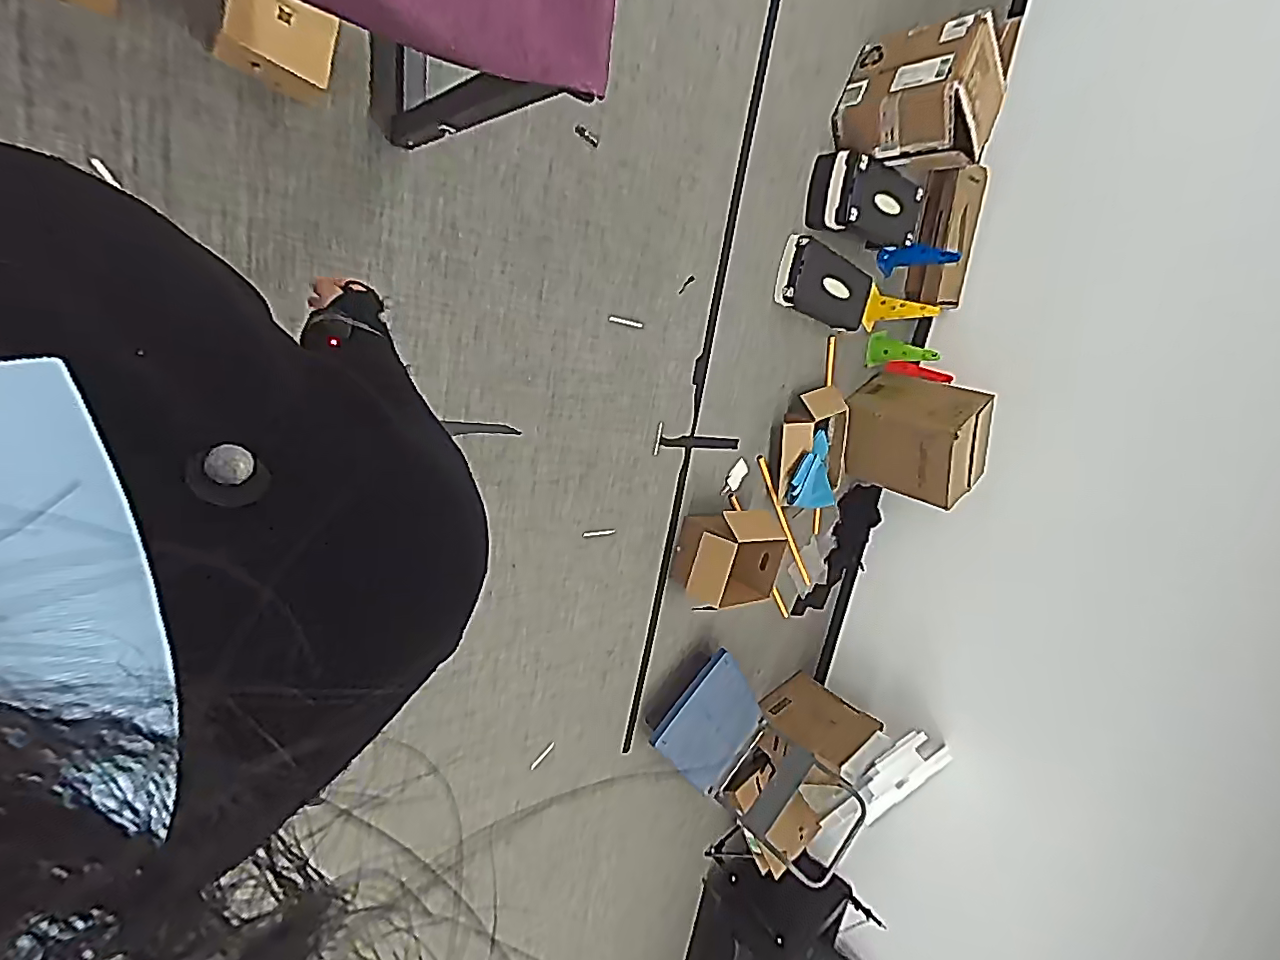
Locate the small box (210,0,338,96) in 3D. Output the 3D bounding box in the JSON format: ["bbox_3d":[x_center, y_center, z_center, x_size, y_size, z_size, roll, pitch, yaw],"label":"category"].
[{"bbox_3d":[-0.699,-0.875,1.028,0.168,0.176,0.179,8,101,-45],"label":"small box"}]
